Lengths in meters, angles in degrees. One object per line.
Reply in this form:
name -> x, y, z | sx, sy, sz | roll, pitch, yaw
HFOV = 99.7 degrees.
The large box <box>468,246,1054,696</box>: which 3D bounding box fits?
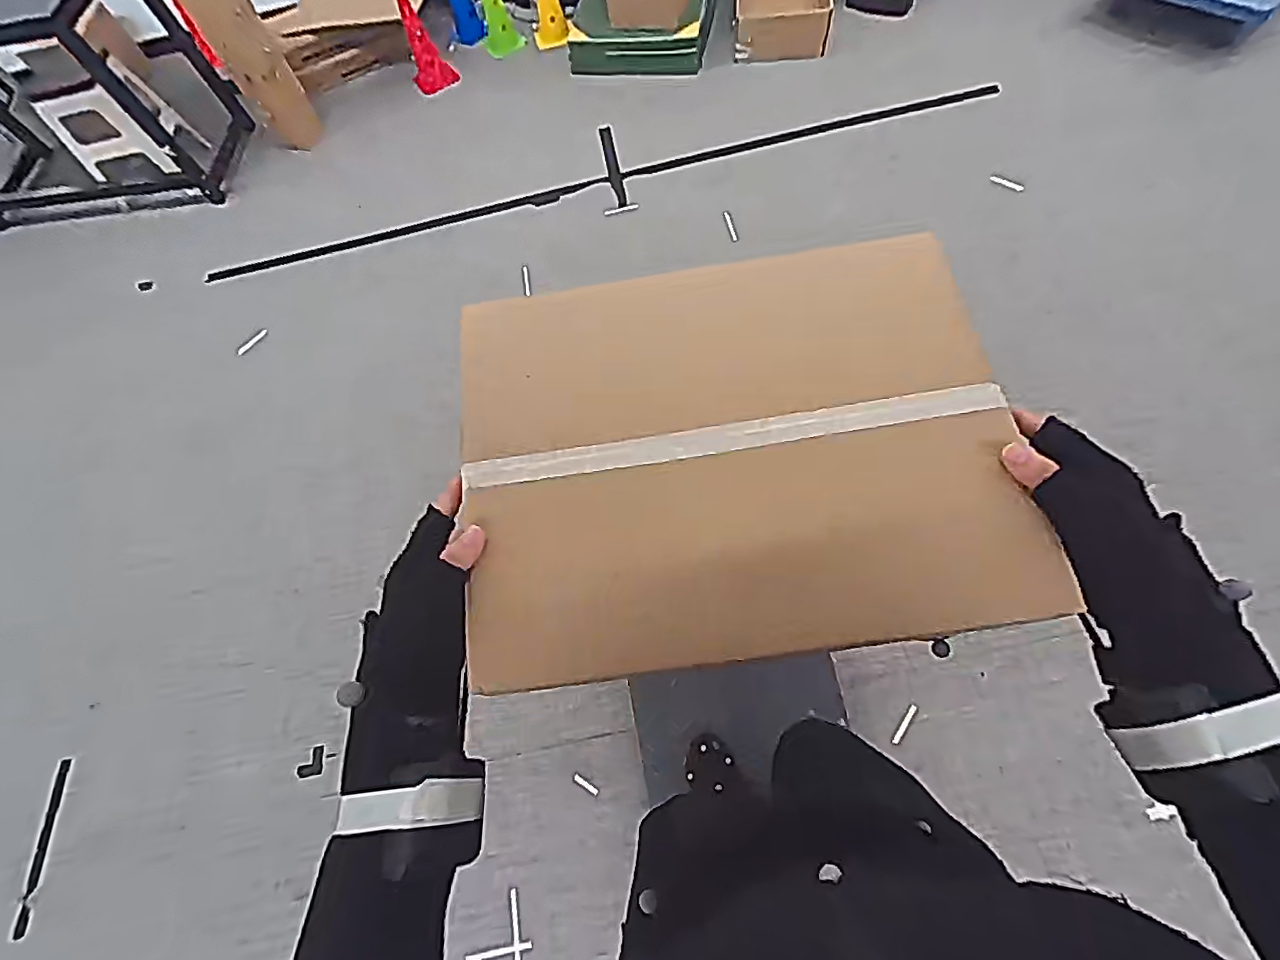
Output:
large box -> 0.080, 0.020, 0.558 | 0.408, 0.320, 0.320 | -9, 71, 2
